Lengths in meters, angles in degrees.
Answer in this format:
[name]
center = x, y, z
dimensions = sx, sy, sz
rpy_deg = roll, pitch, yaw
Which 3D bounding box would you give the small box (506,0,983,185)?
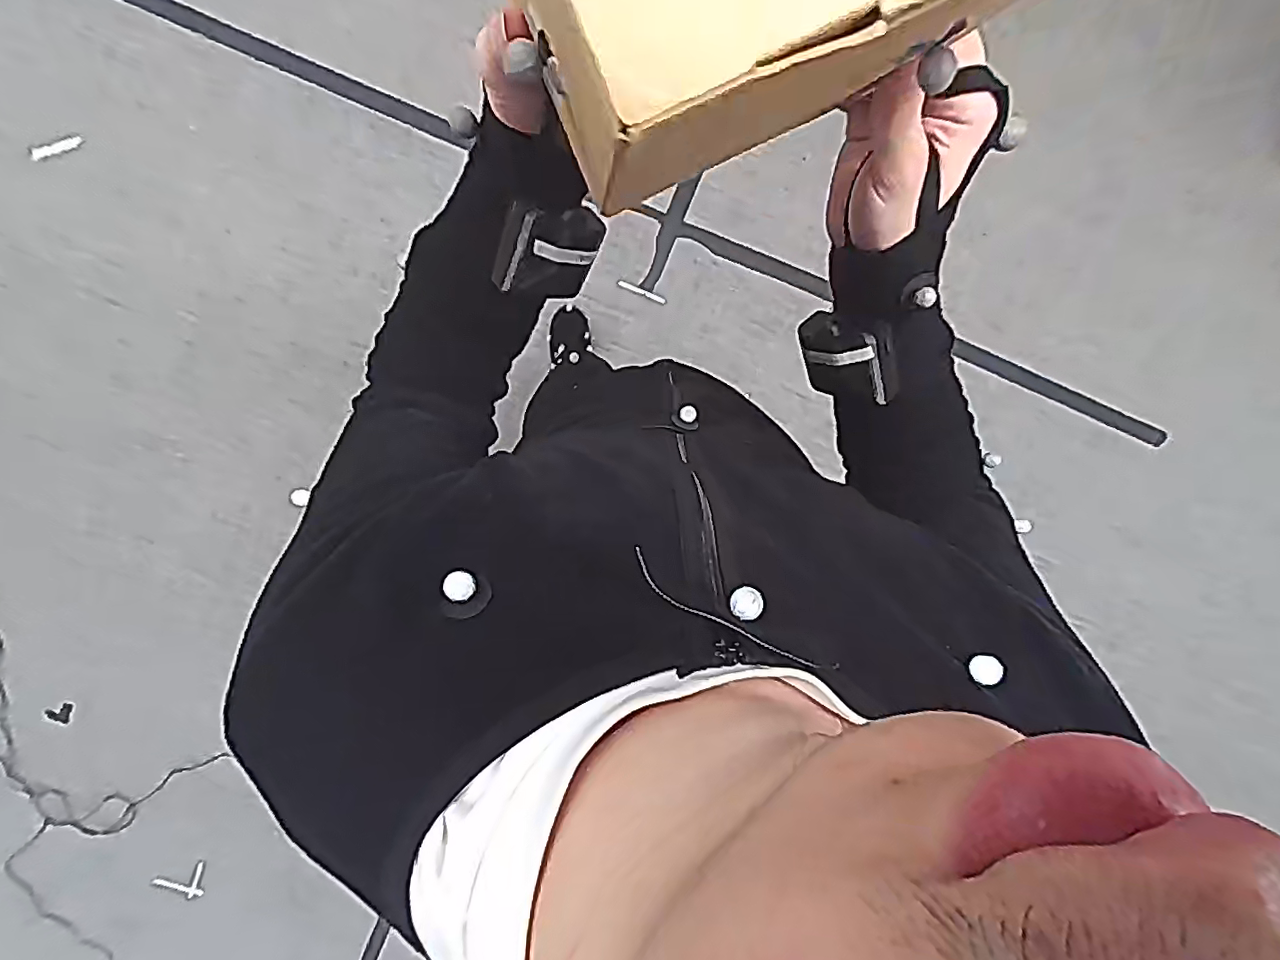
[small box]
center = 0.025, -0.215, 0.169
dimensions = 0.168, 0.176, 0.179
rpy_deg = -24, 110, 3
